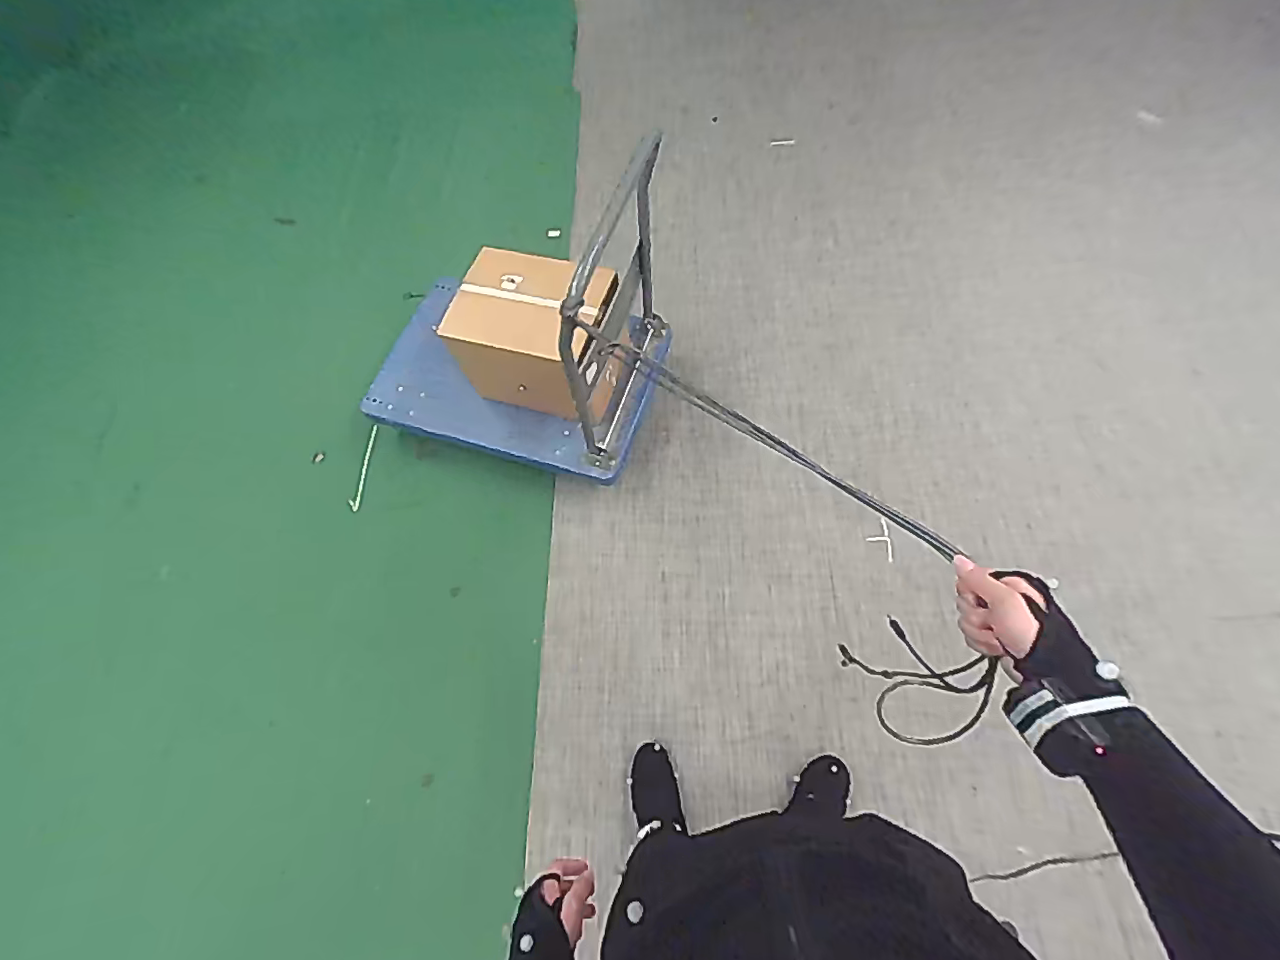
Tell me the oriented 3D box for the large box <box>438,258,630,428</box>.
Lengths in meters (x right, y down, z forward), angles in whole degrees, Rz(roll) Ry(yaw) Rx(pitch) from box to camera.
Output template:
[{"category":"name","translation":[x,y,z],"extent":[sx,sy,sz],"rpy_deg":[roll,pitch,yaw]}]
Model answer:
[{"category":"large box","translation":[-0.278,-0.386,1.553],"extent":[0.408,0.320,0.320],"rpy_deg":[14,68,14]}]
